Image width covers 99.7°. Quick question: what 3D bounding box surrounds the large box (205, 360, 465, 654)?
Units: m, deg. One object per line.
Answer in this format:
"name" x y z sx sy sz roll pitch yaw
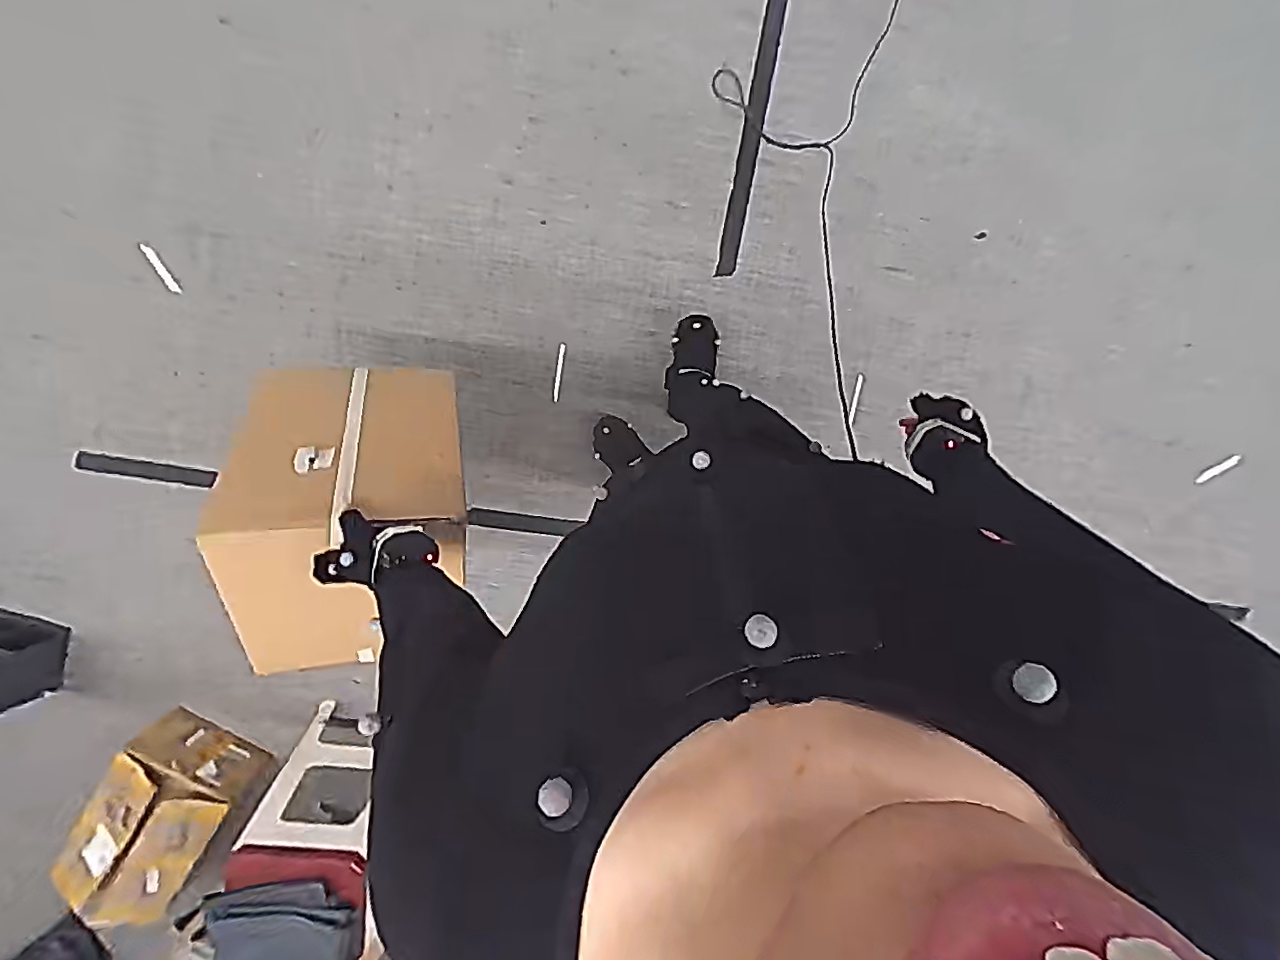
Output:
"large box" -0.481 0.033 0.944 0.320 0.408 0.320 -1 132 -20
